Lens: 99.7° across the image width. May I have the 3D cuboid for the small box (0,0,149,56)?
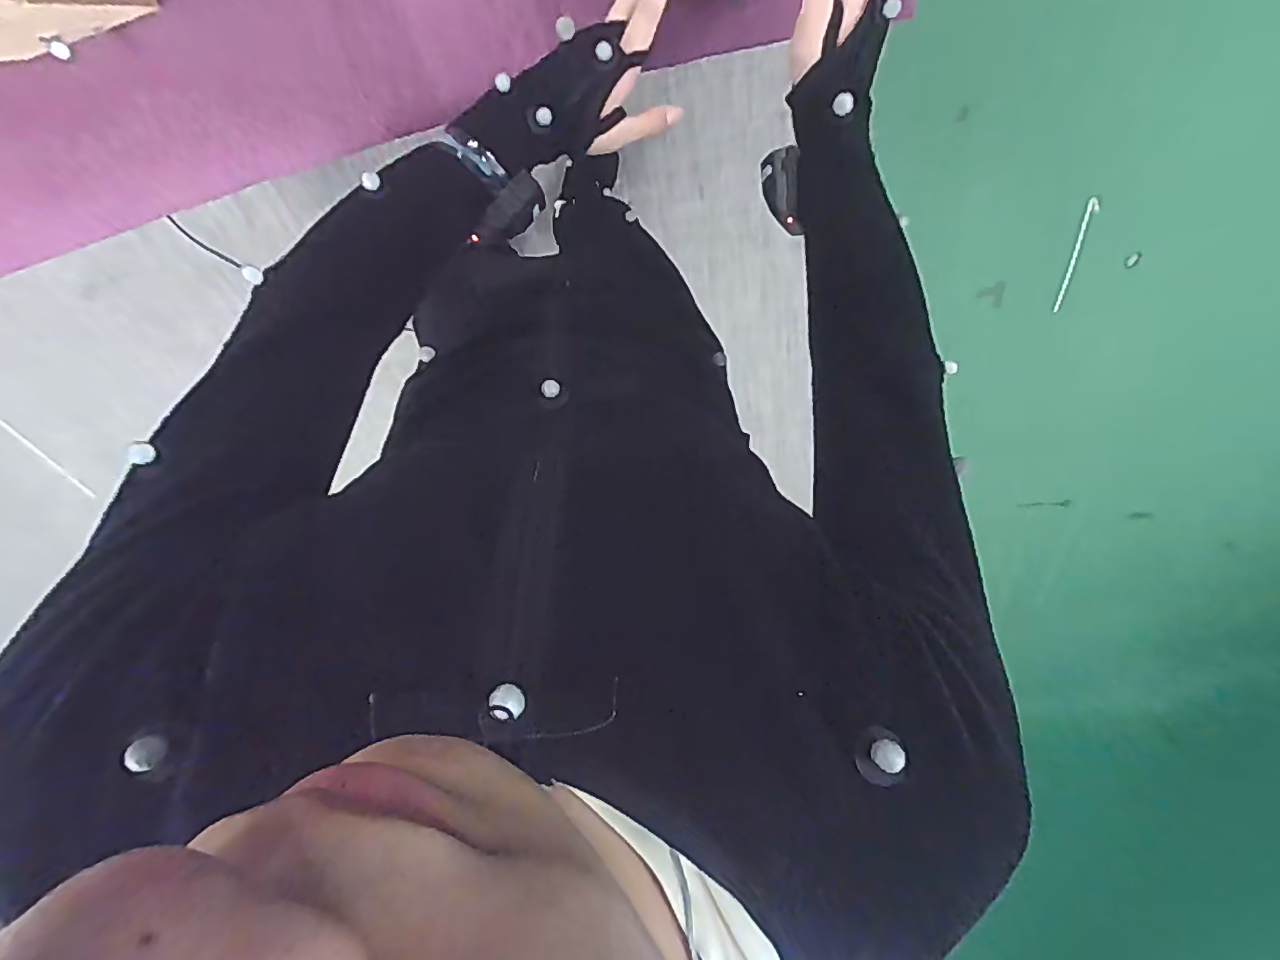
[{"bbox_3d":[-0.571,-0.460,0.428,0.168,0.176,0.179,-13,131,7],"label":"small box"}]
